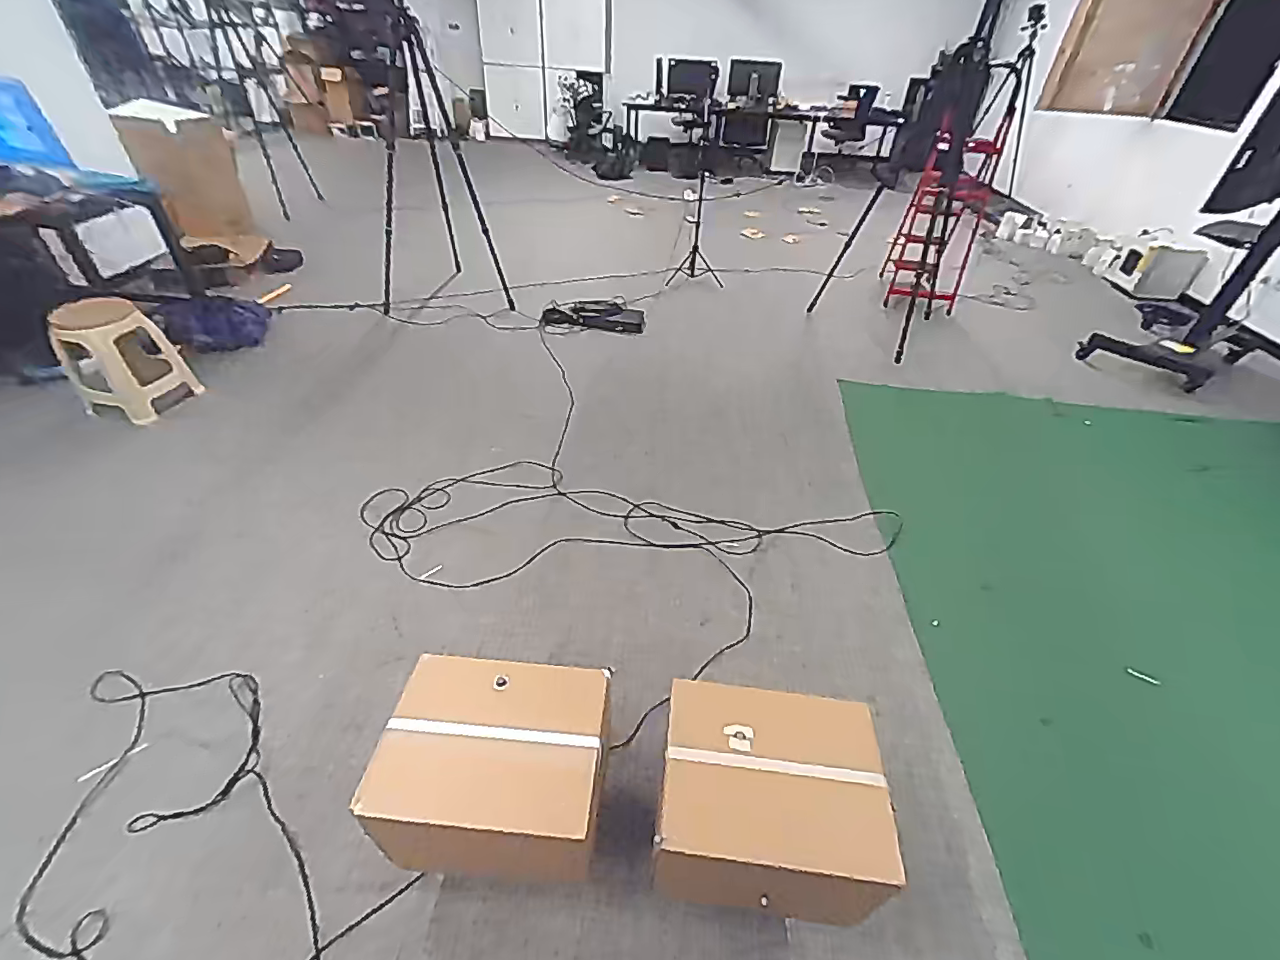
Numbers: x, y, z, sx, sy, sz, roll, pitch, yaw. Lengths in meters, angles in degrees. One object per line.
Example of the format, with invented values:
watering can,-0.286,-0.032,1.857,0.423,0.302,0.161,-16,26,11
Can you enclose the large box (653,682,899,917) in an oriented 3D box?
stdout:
large box,0.246,0.654,1.110,0.408,0.320,0.320,6,40,4
